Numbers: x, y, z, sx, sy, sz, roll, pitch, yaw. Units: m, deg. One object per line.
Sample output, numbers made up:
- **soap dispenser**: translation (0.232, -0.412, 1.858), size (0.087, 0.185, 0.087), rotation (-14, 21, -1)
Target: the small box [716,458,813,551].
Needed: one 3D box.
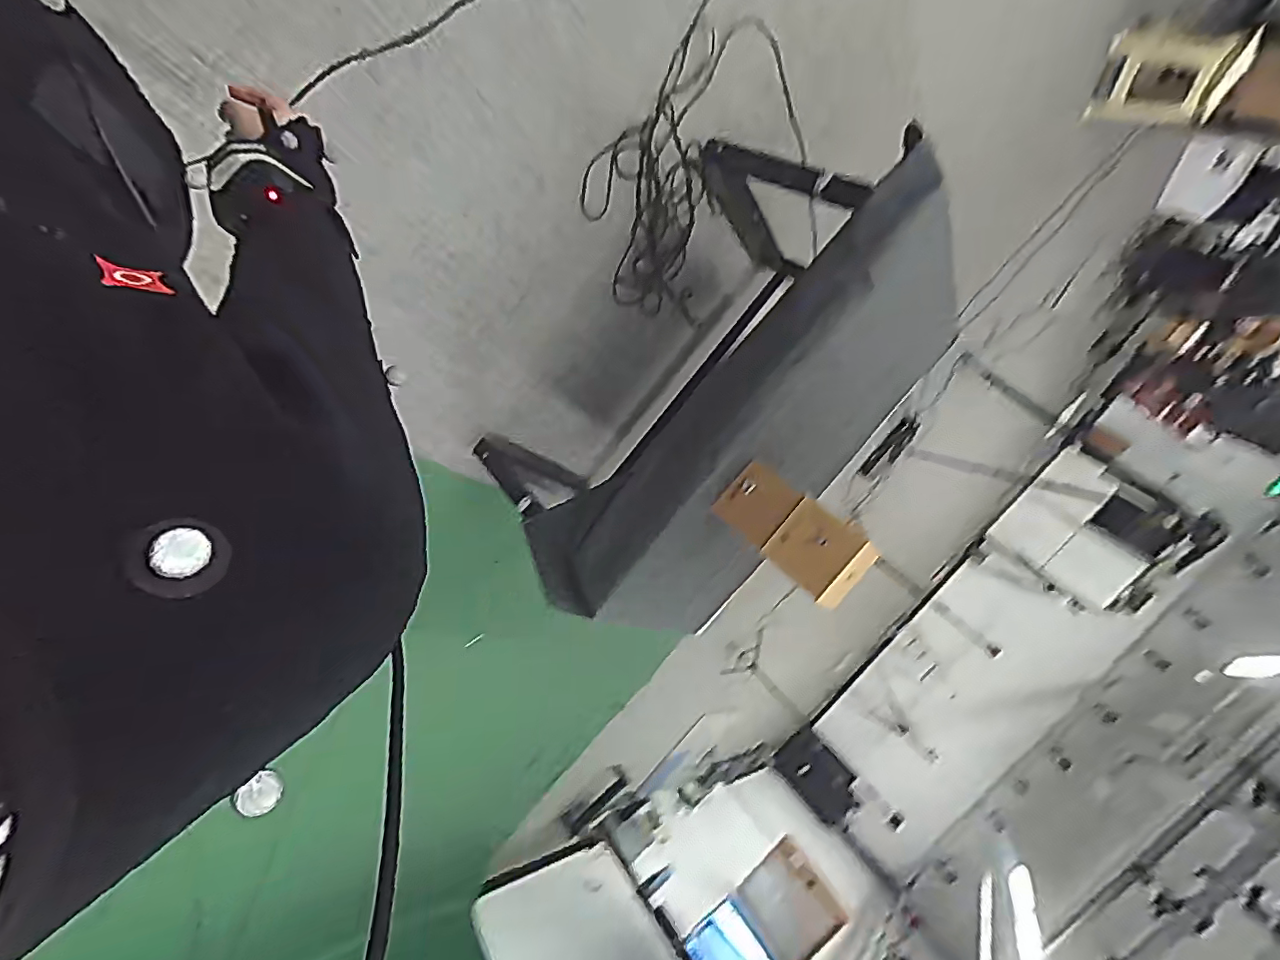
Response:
- **small box**: translation (0.318, 0.070, 1.312), size (0.168, 0.176, 0.179), rotation (-51, 144, 6)

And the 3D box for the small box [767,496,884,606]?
- **small box**: translation (0.413, 0.157, 1.212), size (0.168, 0.176, 0.179), rotation (-52, 146, 7)
